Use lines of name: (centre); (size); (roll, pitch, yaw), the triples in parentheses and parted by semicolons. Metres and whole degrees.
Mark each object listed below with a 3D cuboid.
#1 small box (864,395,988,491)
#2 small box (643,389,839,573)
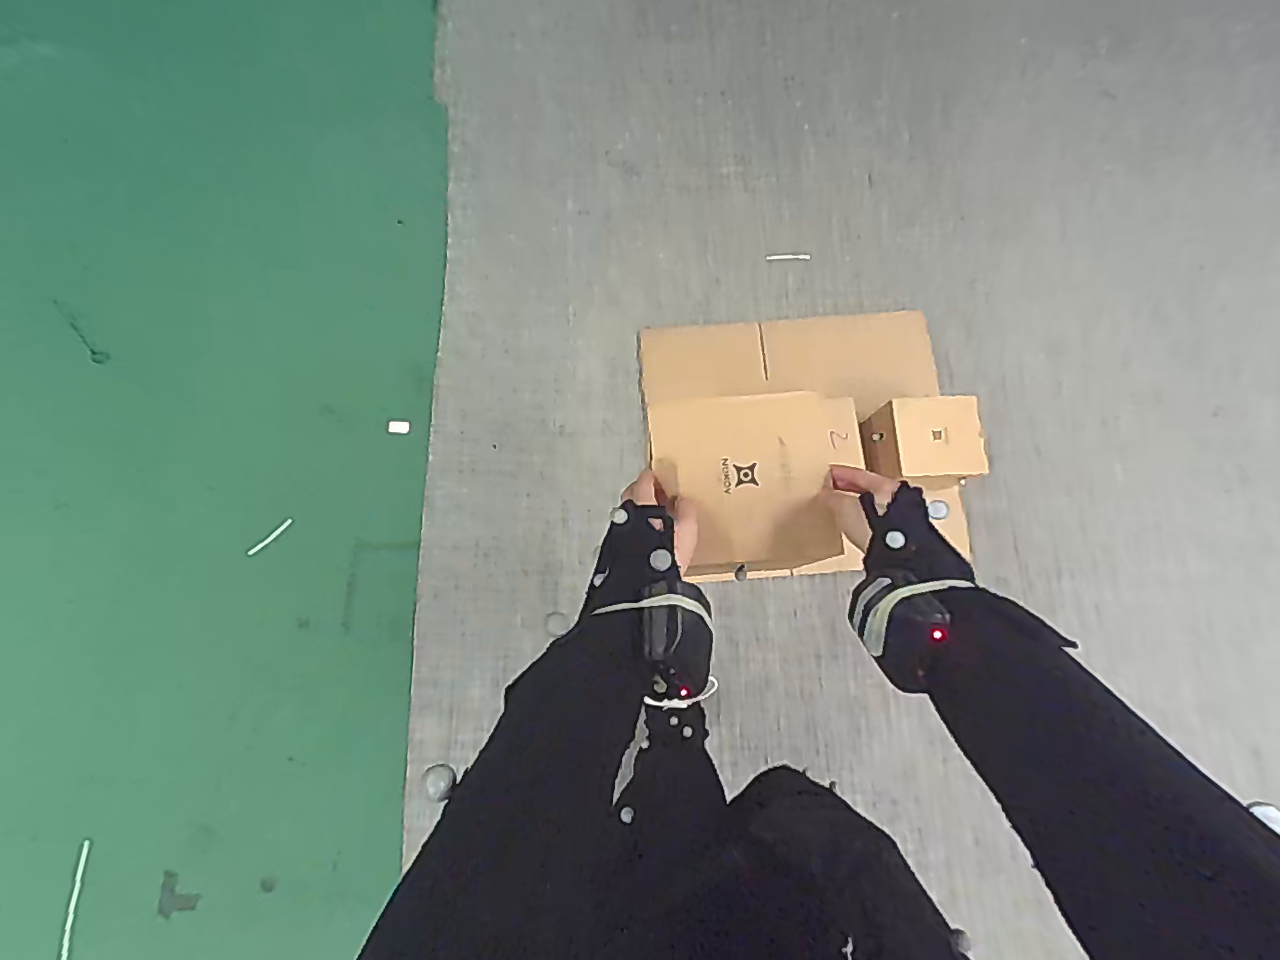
small box: (0.595, -0.073, 1.154); (0.179, 0.176, 0.168); (-2, 78, 0)
small box: (0.095, 0.012, 0.598); (0.179, 0.176, 0.168); (-4, 77, -2)
